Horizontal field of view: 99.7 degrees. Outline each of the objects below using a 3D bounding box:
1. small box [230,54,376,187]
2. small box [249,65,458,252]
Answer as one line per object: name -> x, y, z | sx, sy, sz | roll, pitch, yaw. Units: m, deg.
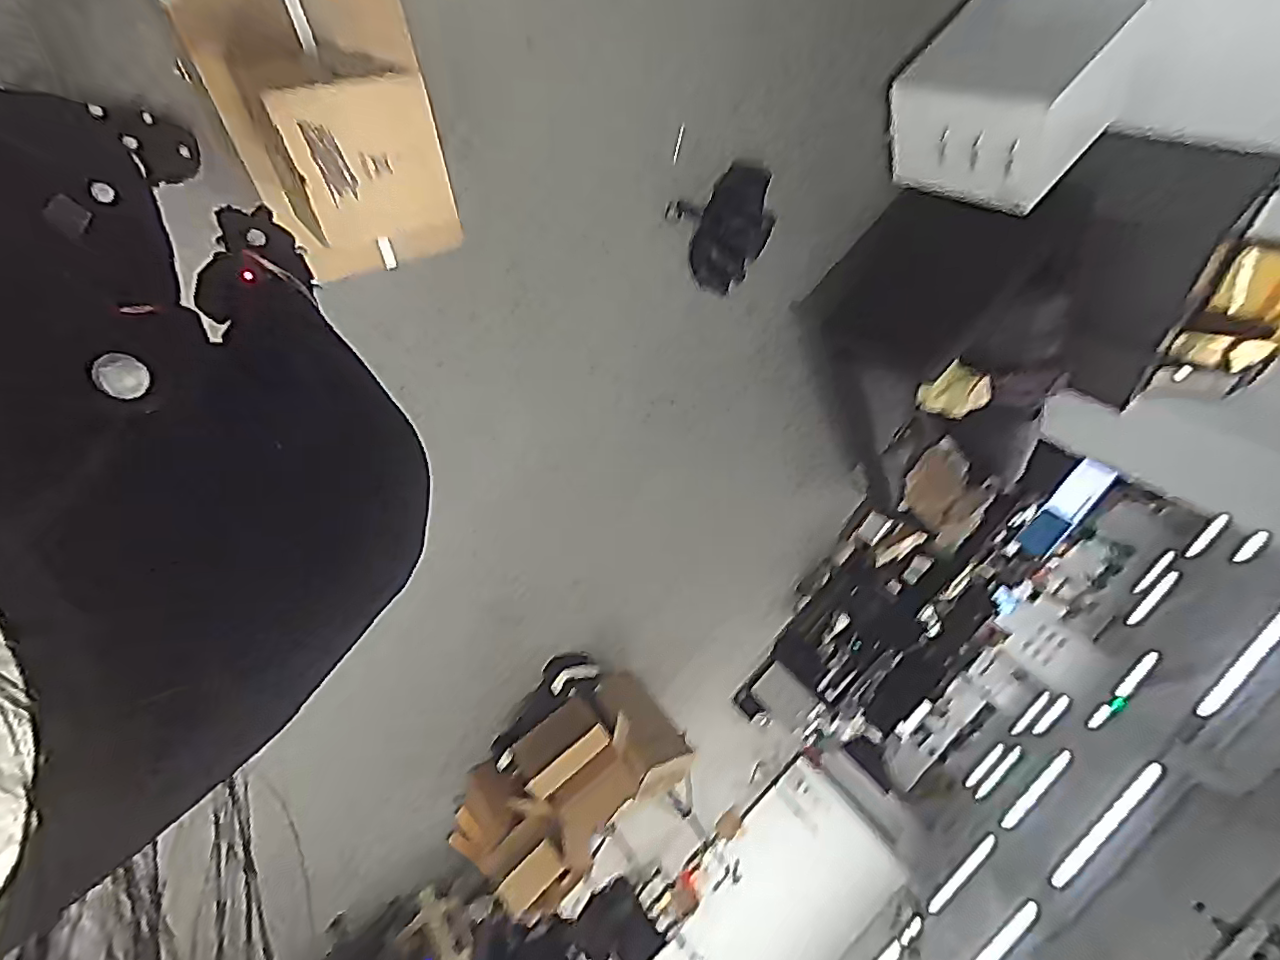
small box -> -0.462, -0.509, 0.802 | 0.168, 0.176, 0.179 | -34, 143, -21
small box -> -0.368, -0.419, 0.696 | 0.179, 0.176, 0.168 | -30, 140, -25
